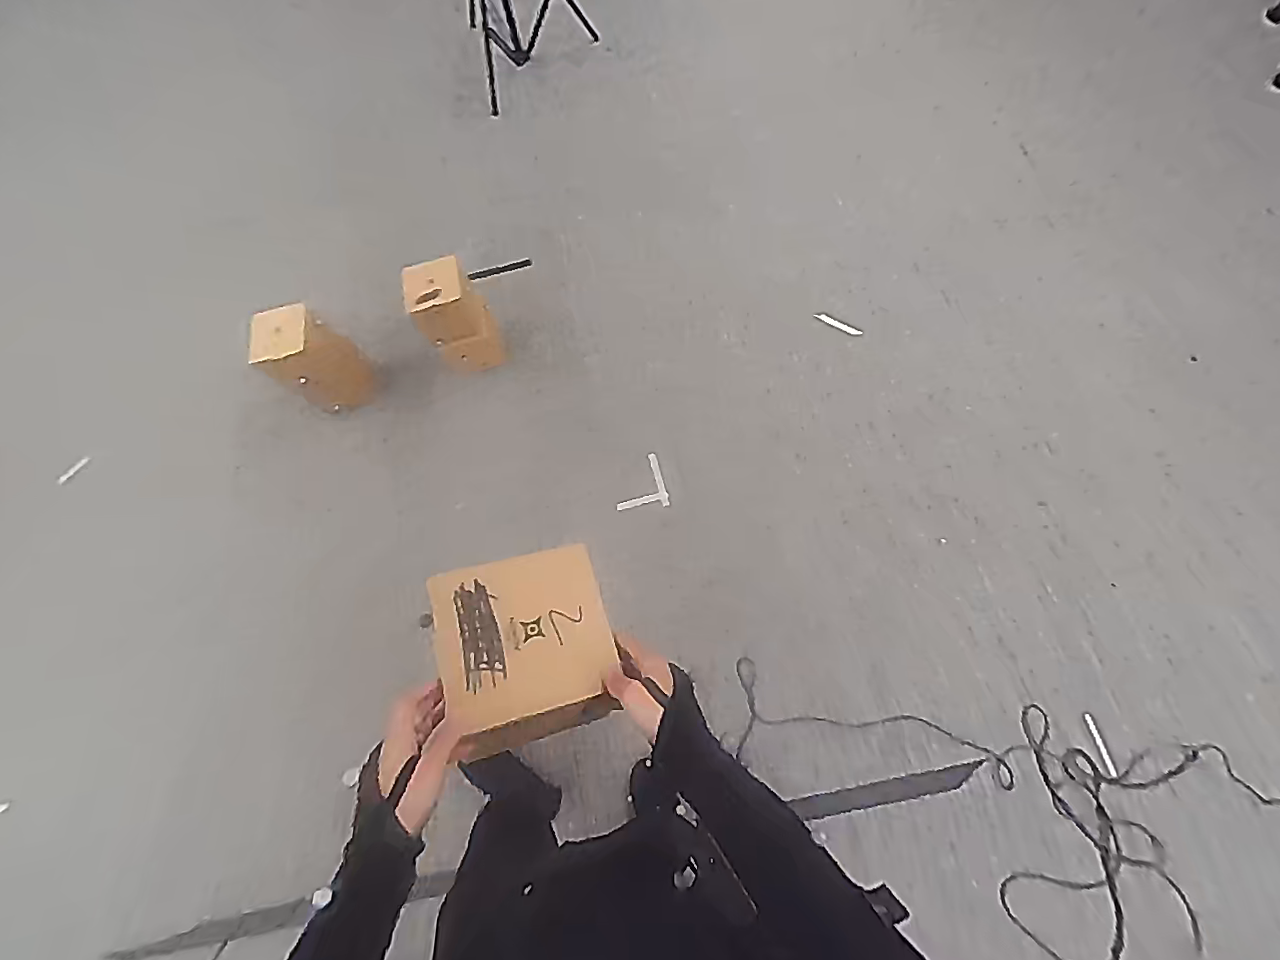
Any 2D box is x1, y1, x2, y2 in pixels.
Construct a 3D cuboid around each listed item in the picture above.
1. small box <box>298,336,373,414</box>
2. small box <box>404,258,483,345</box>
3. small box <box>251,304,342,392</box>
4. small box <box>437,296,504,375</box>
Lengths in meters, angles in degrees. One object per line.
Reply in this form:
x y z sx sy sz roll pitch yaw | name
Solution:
-1.002 -0.341 1.780 0.168 0.176 0.179 -11 69 2 | small box
-0.591 -0.530 1.636 0.168 0.176 0.179 -16 67 0 | small box
-1.024 -0.392 1.625 0.168 0.176 0.179 -12 70 2 | small box
-0.563 -0.469 1.786 0.168 0.176 0.179 -16 68 -1 | small box
